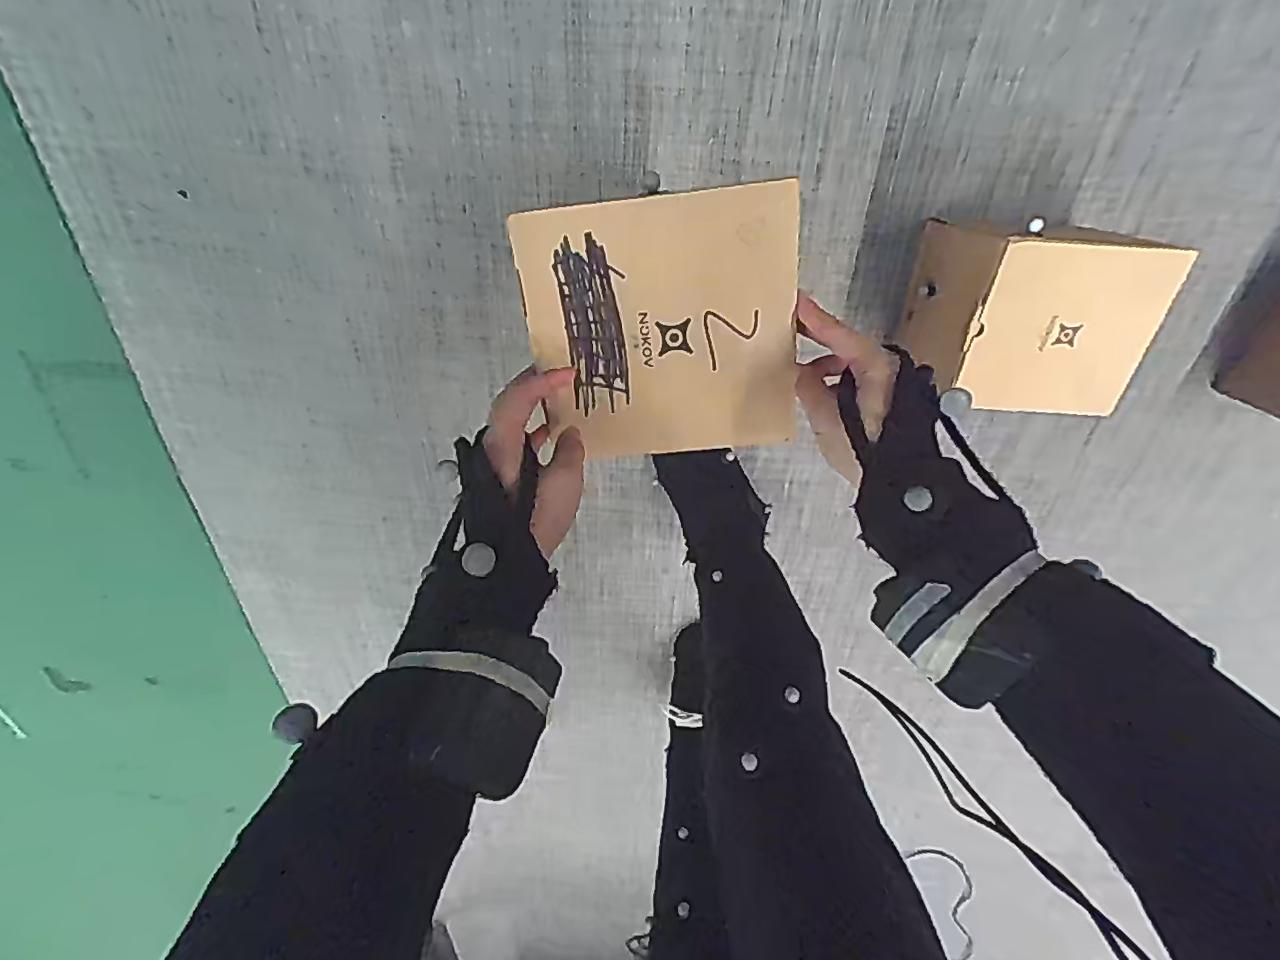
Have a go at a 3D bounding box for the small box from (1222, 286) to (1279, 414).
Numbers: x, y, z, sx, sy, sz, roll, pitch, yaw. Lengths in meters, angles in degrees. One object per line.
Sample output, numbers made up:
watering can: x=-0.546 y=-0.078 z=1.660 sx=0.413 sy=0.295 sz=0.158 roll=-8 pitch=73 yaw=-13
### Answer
small box: x=0.839 y=-0.146 z=0.607 sx=0.168 sy=0.176 sz=0.179 roll=6 pitch=120 yaw=-3

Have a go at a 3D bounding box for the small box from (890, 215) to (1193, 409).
small box: x=0.410 y=-0.190 z=0.594 sx=0.179 sy=0.176 sz=0.168 roll=4 pitch=122 yaw=0
